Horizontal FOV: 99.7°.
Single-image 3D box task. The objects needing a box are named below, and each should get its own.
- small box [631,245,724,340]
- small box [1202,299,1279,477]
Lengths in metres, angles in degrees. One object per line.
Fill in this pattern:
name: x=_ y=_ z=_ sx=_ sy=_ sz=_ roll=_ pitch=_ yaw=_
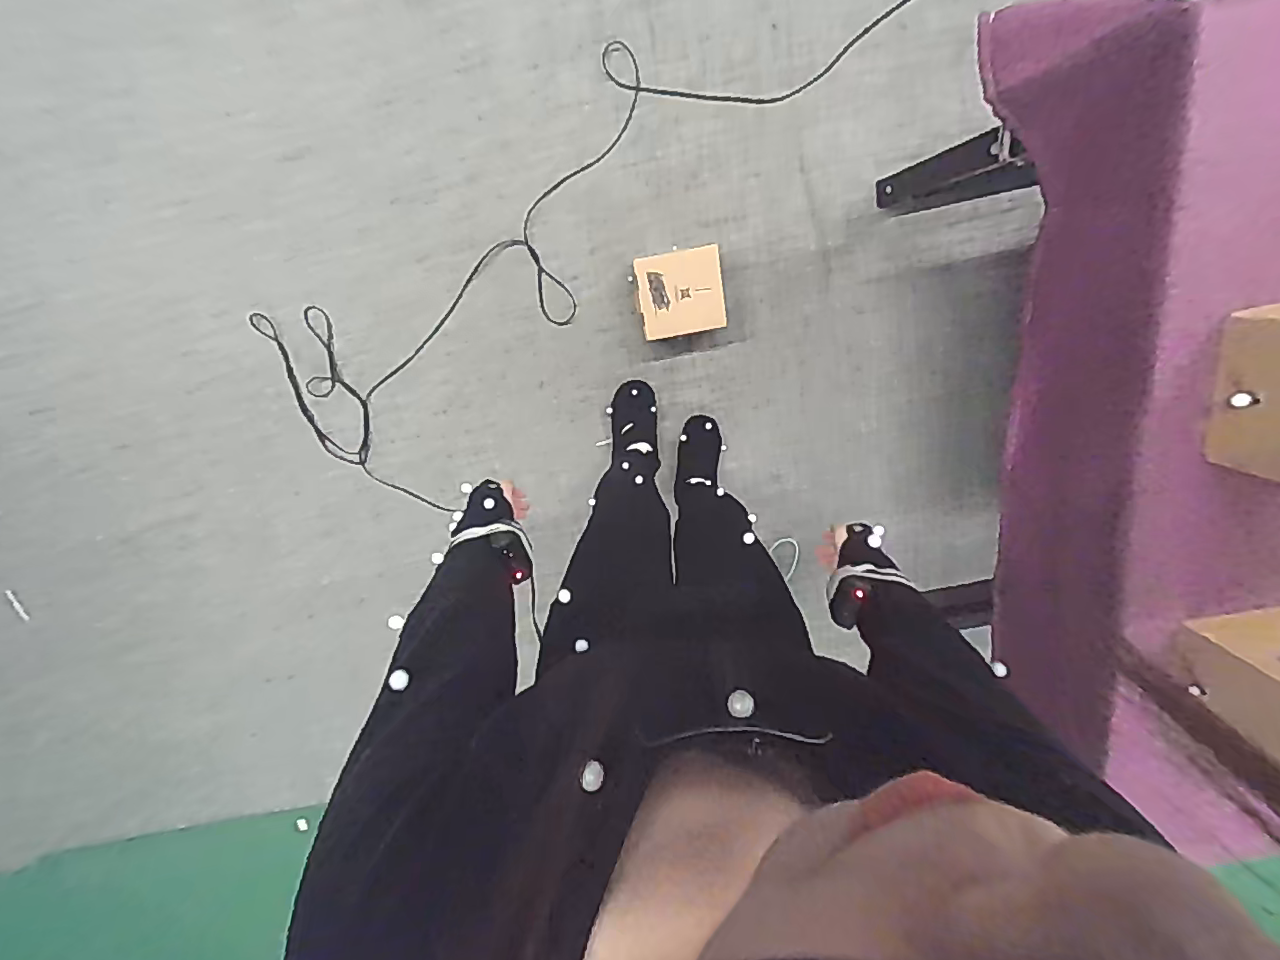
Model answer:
small box: x=0.078 y=-0.410 z=1.192 sx=0.179 sy=0.176 sz=0.168 roll=-11 pitch=109 yaw=1
small box: x=0.743 y=-0.096 z=0.551 sx=0.168 sy=0.176 sz=0.179 roll=-13 pitch=110 yaw=2
